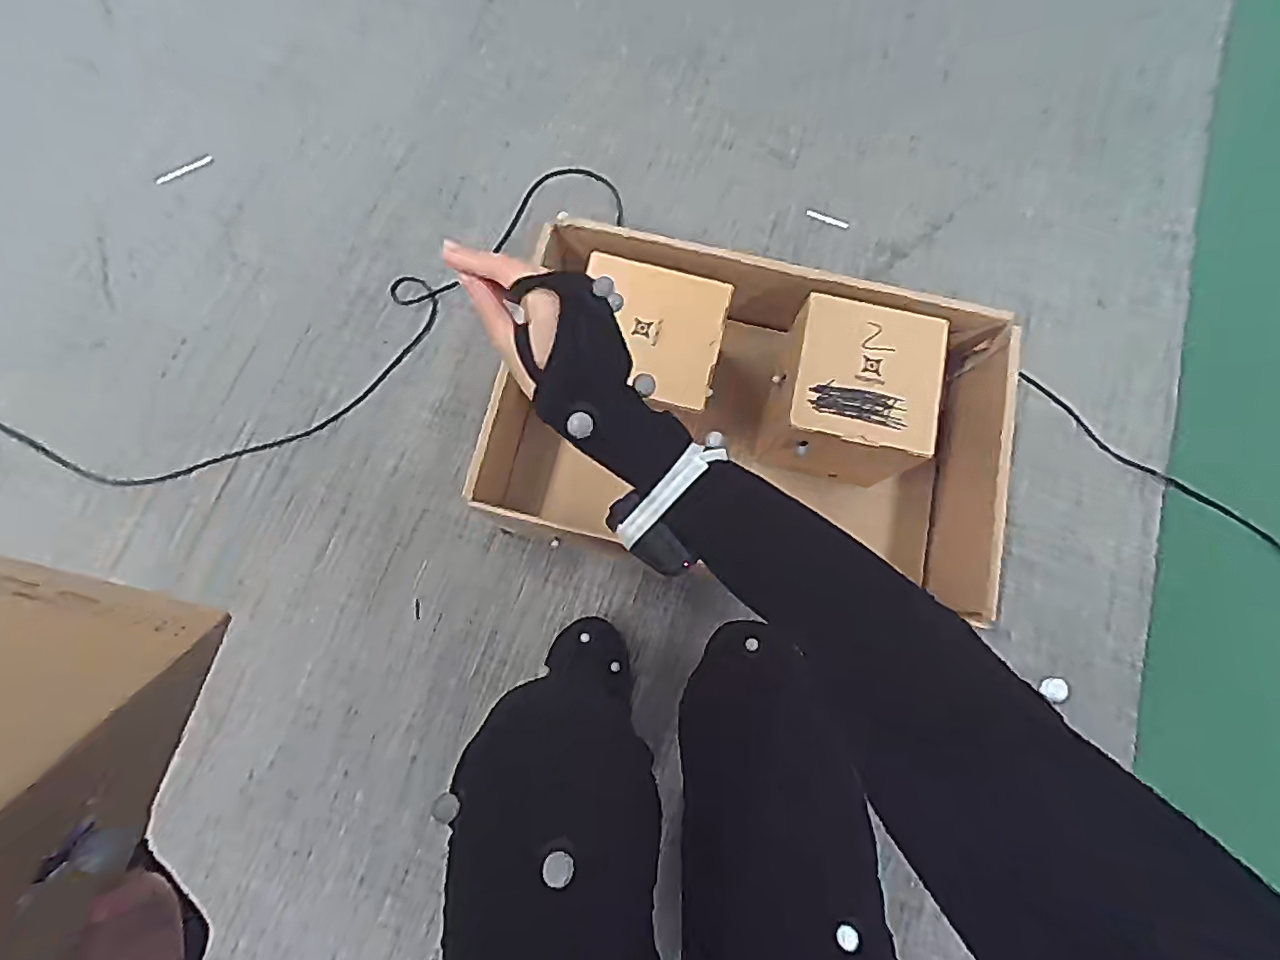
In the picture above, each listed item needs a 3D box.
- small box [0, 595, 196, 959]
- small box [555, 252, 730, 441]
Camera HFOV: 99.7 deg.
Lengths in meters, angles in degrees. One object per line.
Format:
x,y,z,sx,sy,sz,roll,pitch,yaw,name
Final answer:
-0.270,0.128,0.147,0.168,0.176,0.179,22,90,-19,small box
0.003,-0.161,0.708,0.179,0.176,0.168,14,79,1,small box
